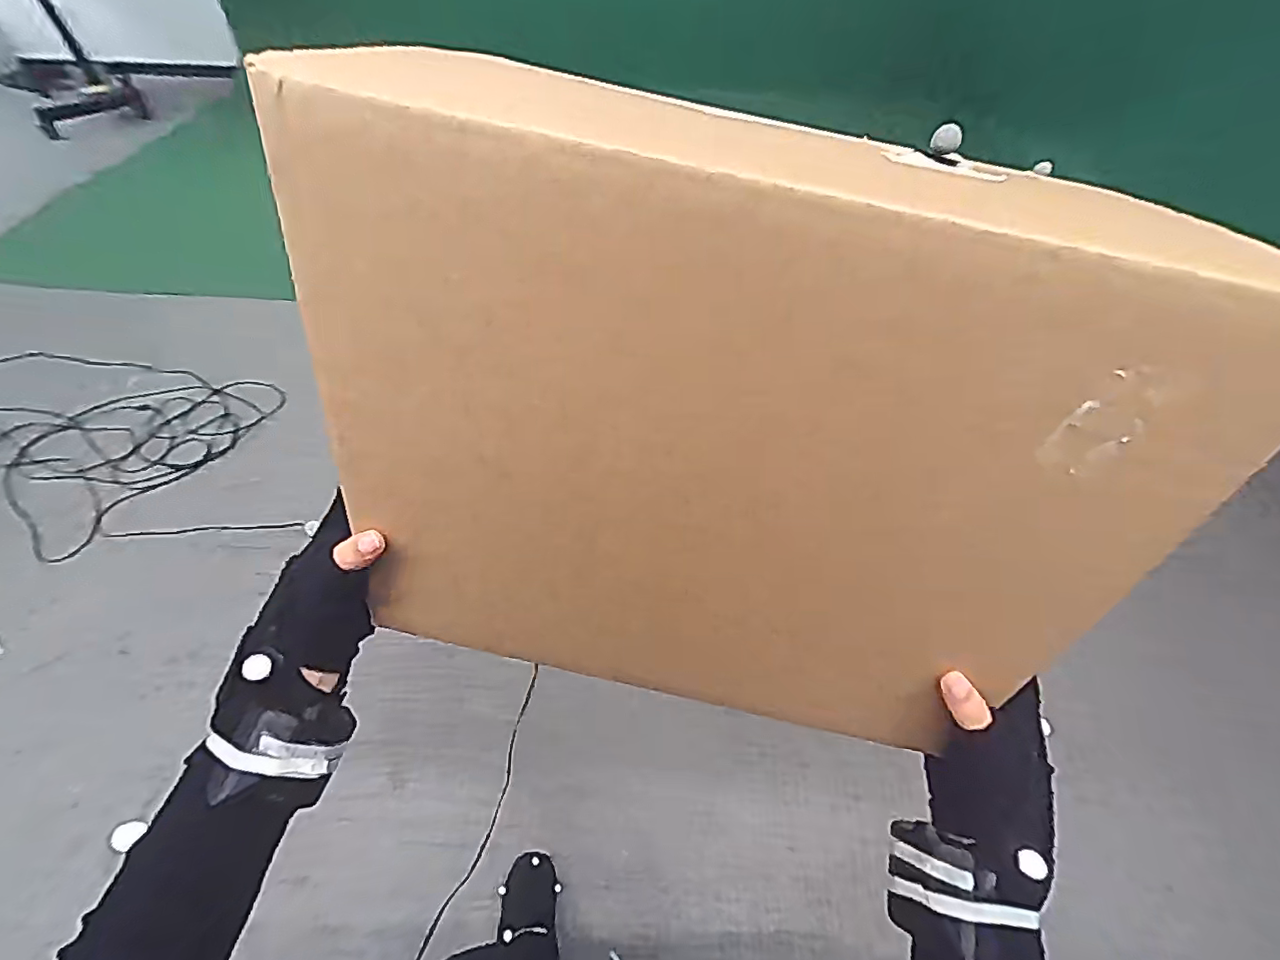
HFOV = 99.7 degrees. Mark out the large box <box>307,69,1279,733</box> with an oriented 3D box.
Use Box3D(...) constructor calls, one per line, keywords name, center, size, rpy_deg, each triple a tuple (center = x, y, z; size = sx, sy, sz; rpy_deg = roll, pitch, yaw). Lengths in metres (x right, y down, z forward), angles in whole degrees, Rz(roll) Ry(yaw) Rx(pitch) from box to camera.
Box3D(name="large box", center=(0.060, -0.065, 0.402), size=(0.408, 0.320, 0.320), rpy_deg=(13, 38, -1))
